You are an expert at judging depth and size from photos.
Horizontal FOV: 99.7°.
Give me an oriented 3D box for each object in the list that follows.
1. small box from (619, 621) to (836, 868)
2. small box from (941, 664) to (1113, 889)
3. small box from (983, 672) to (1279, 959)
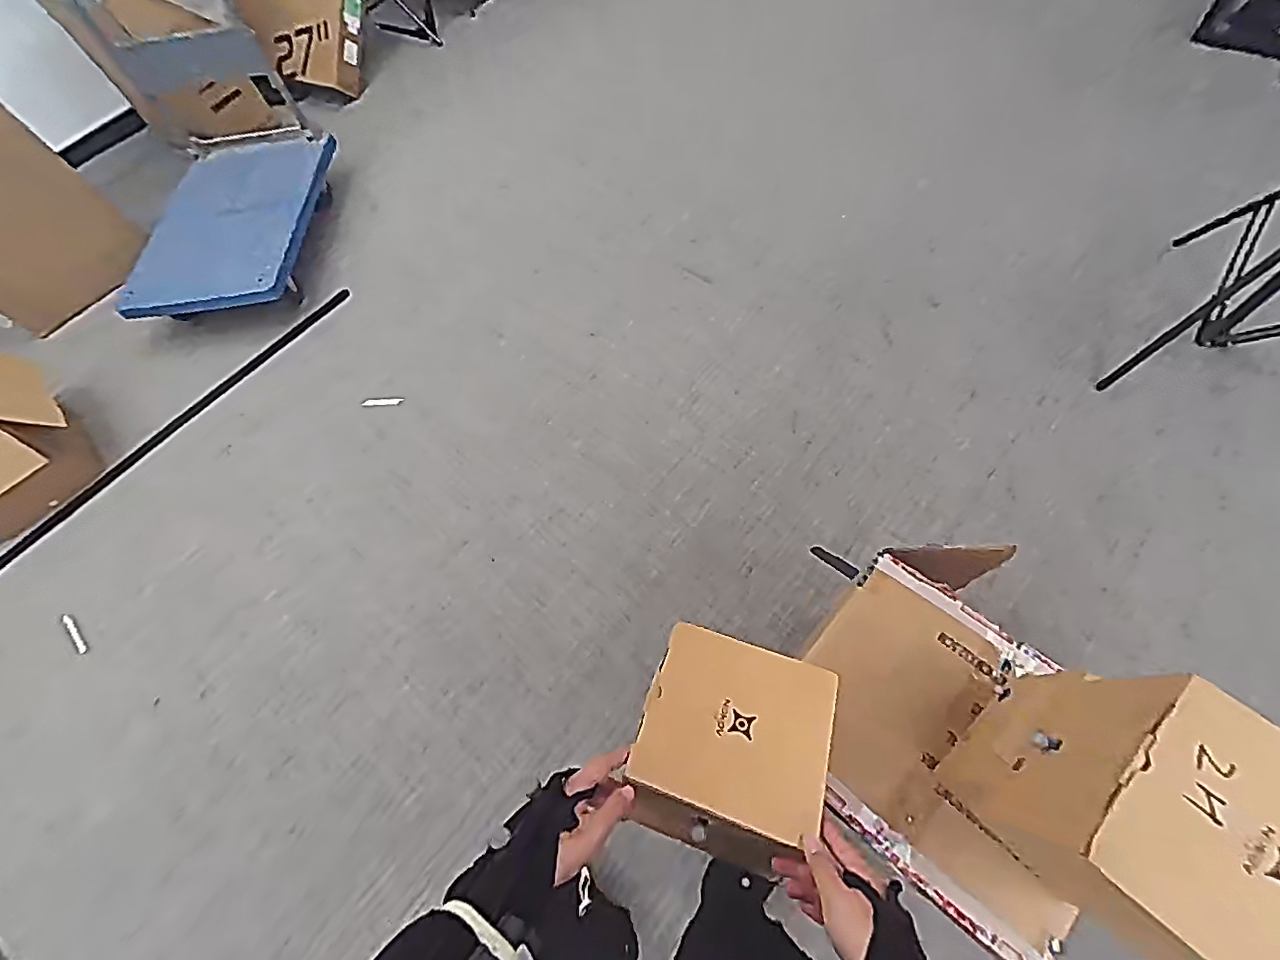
[{"bbox_3d":[0.089,0.282,0.571,0.179,0.176,0.168,15,49,13],"label":"small box"},{"bbox_3d":[0.469,0.329,0.582,0.168,0.176,0.179,-43,68,-11],"label":"small box"},{"bbox_3d":[0.428,0.278,0.429,0.179,0.176,0.168,40,77,21],"label":"small box"}]
